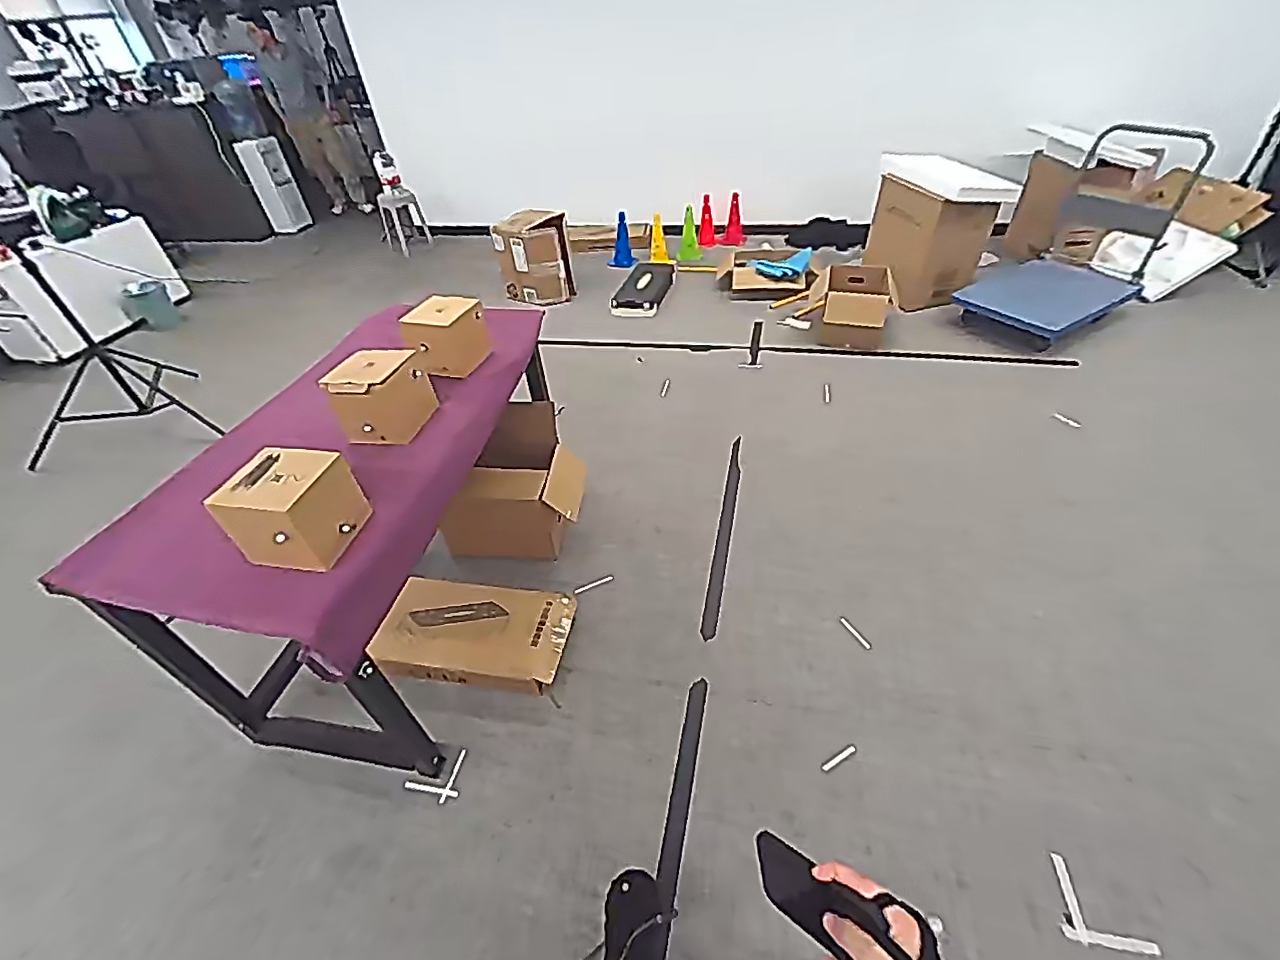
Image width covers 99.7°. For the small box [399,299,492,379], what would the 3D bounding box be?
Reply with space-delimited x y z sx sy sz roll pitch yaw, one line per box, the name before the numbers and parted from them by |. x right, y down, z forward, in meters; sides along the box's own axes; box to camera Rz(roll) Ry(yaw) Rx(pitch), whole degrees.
small box | -0.554 -0.409 1.571 0.168 0.176 0.179 9 43 15

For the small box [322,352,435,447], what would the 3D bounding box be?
small box | -0.634 -0.202 1.343 0.168 0.176 0.179 2 42 12
